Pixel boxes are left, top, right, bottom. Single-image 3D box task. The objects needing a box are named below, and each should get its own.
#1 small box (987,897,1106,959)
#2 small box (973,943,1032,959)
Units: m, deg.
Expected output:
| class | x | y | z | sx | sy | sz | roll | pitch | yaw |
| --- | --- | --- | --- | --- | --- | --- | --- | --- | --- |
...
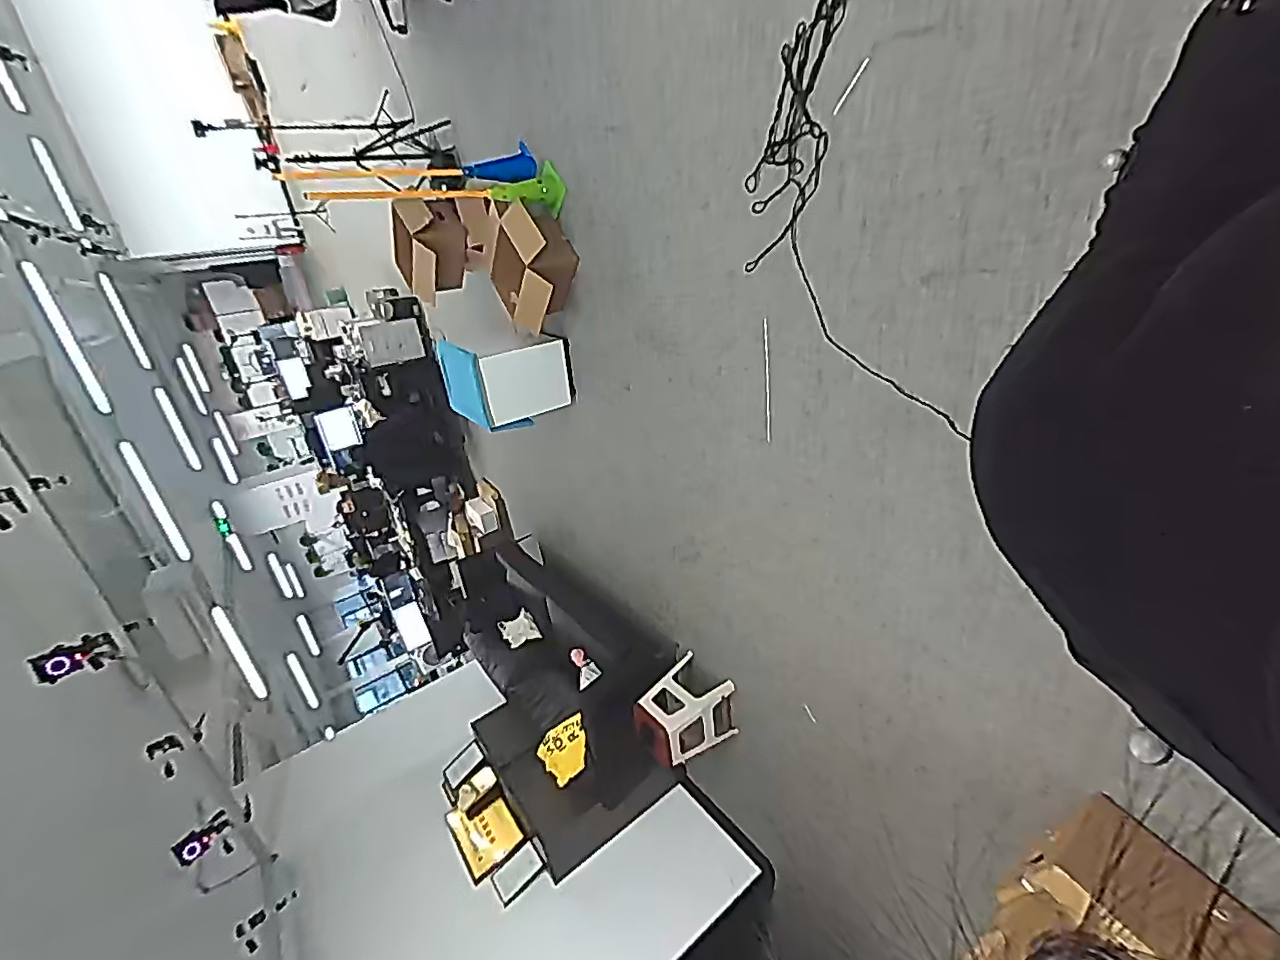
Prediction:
| class | x | y | z | sx | sy | sz | roll | pitch | yaw |
| --- | --- | --- | --- | --- | --- | --- | --- | --- | --- |
| small box | 1.050 | 1.236 | 1.400 | 0.168 | 0.176 | 0.179 | 43 | 143 | 36 |
| small box | 0.915 | 1.286 | 1.326 | 0.179 | 0.176 | 0.168 | 43 | 143 | 35 |
